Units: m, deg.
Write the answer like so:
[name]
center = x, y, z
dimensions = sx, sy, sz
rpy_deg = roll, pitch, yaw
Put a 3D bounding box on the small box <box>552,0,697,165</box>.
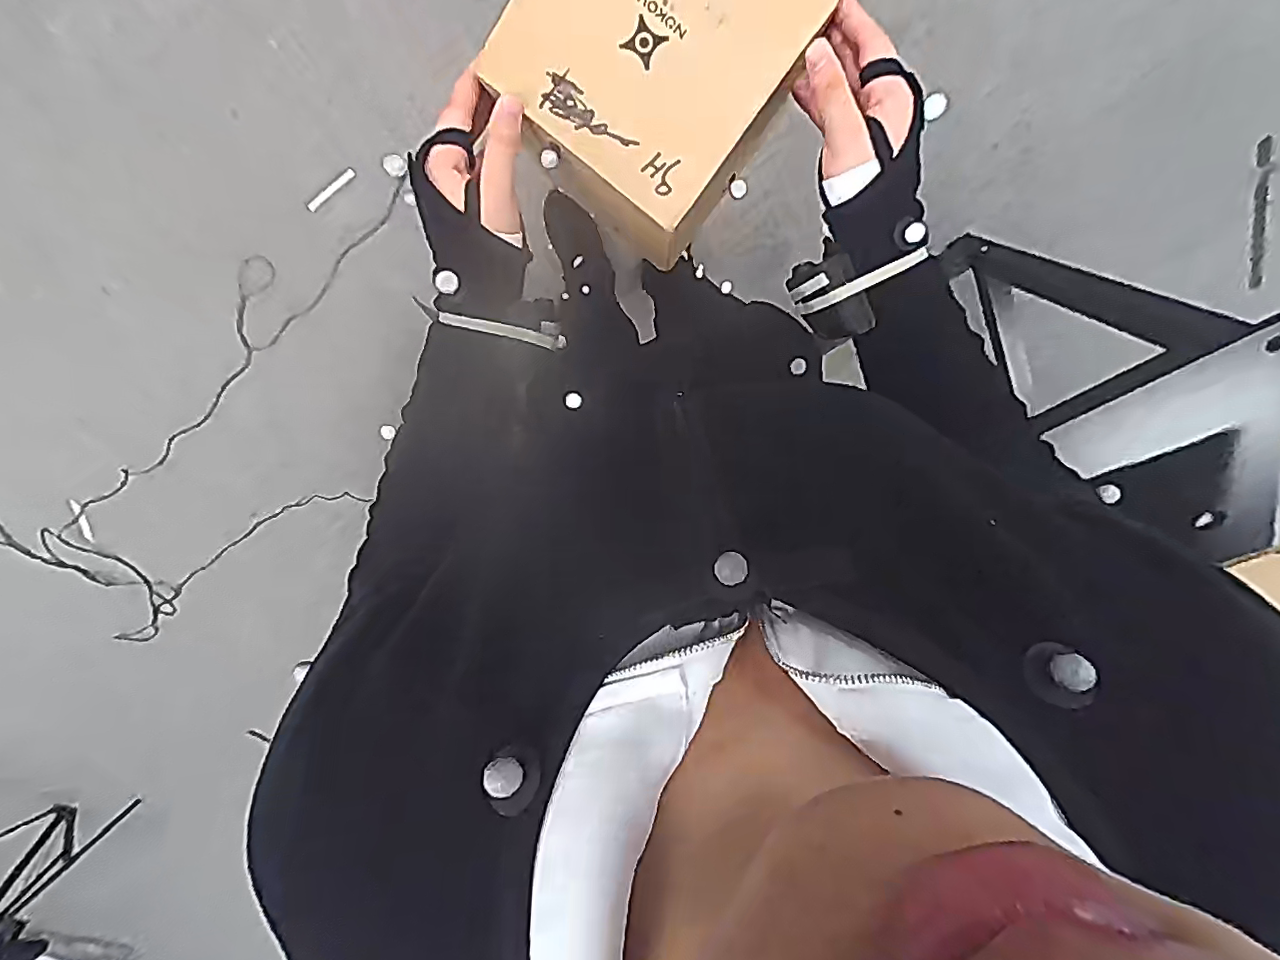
[small box]
center = -0.028, -0.676, 0.926
dimensions = 0.179, 0.176, 0.168
rpy_deg = -36, 120, 17
